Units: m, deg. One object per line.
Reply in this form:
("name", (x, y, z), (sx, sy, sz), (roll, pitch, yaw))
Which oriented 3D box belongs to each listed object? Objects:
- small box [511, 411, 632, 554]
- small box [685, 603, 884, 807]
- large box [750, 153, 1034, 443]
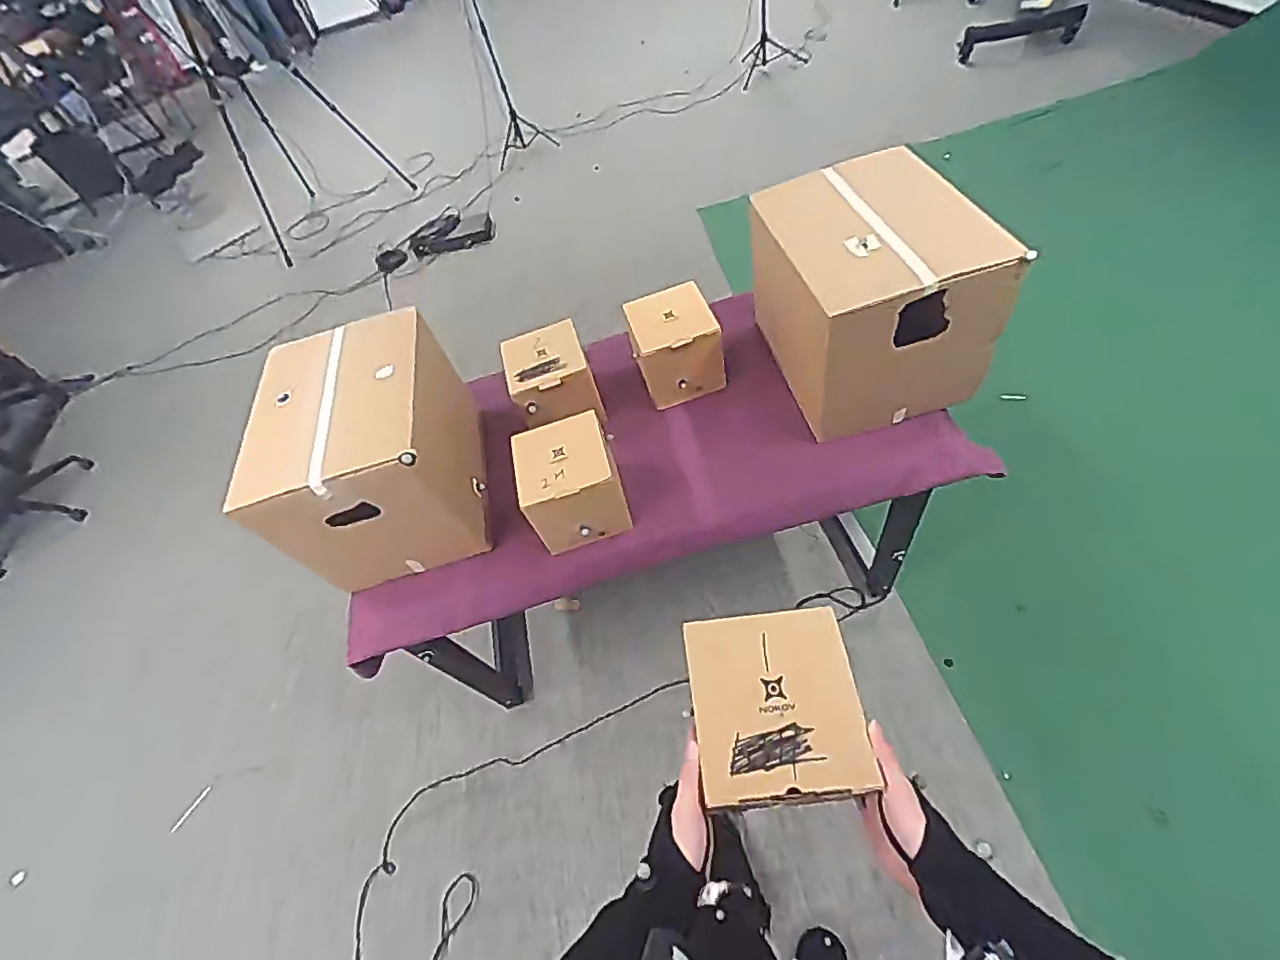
("small box", (-0.125, 0.007, 1.008), (0.168, 0.176, 0.179), (-19, 52, 1))
("small box", (0.146, 0.258, 0.604), (0.168, 0.176, 0.179), (-8, 55, 3))
("large box", (0.426, -0.346, 1.041), (0.320, 0.320, 0.408), (-17, 54, 3))
